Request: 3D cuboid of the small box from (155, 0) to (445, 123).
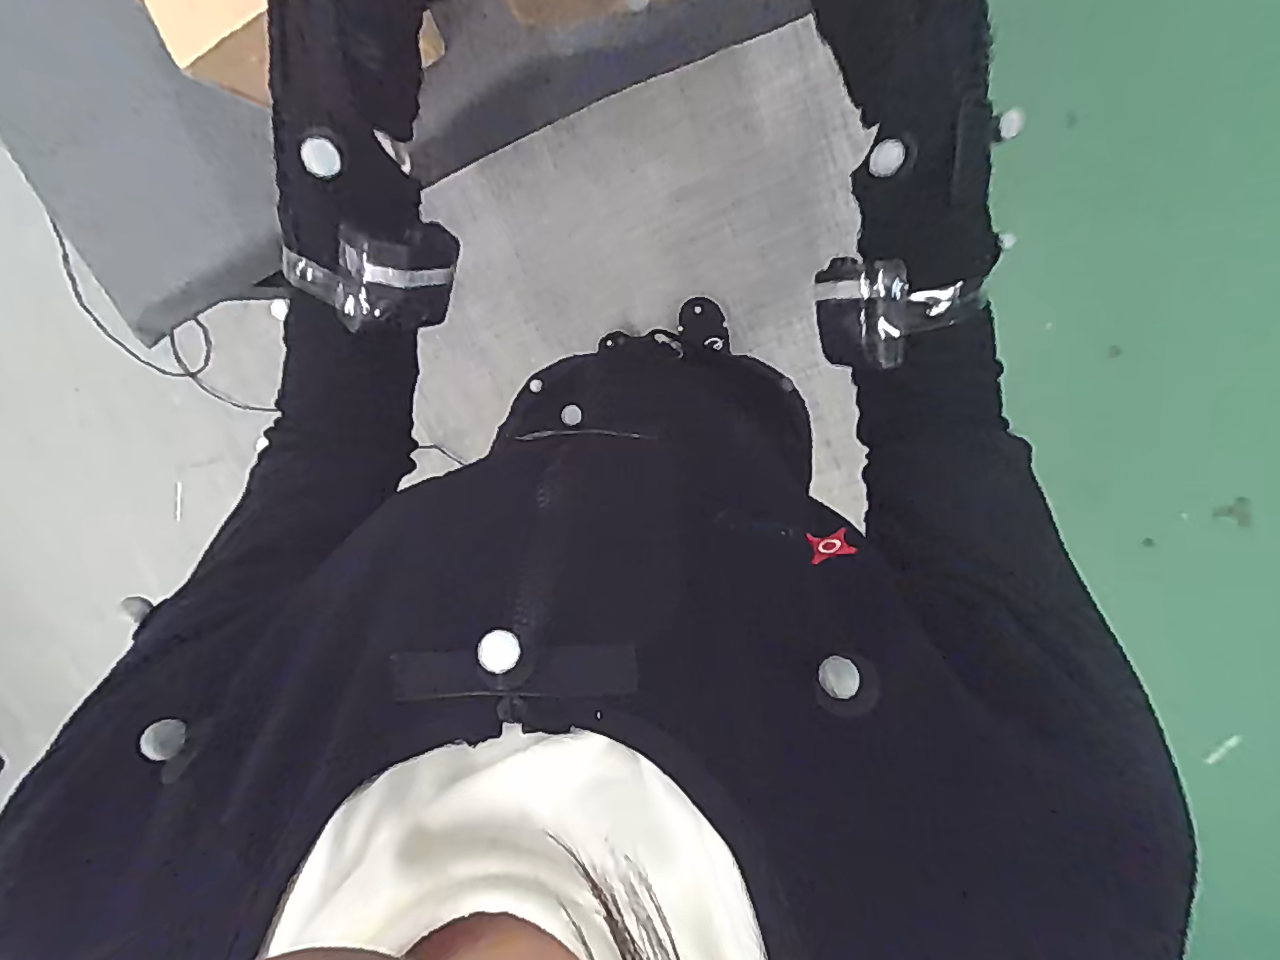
[{"bbox_3d":[-0.318,-0.470,0.494,0.179,0.176,0.168,-20,103,14],"label":"small box"}]
